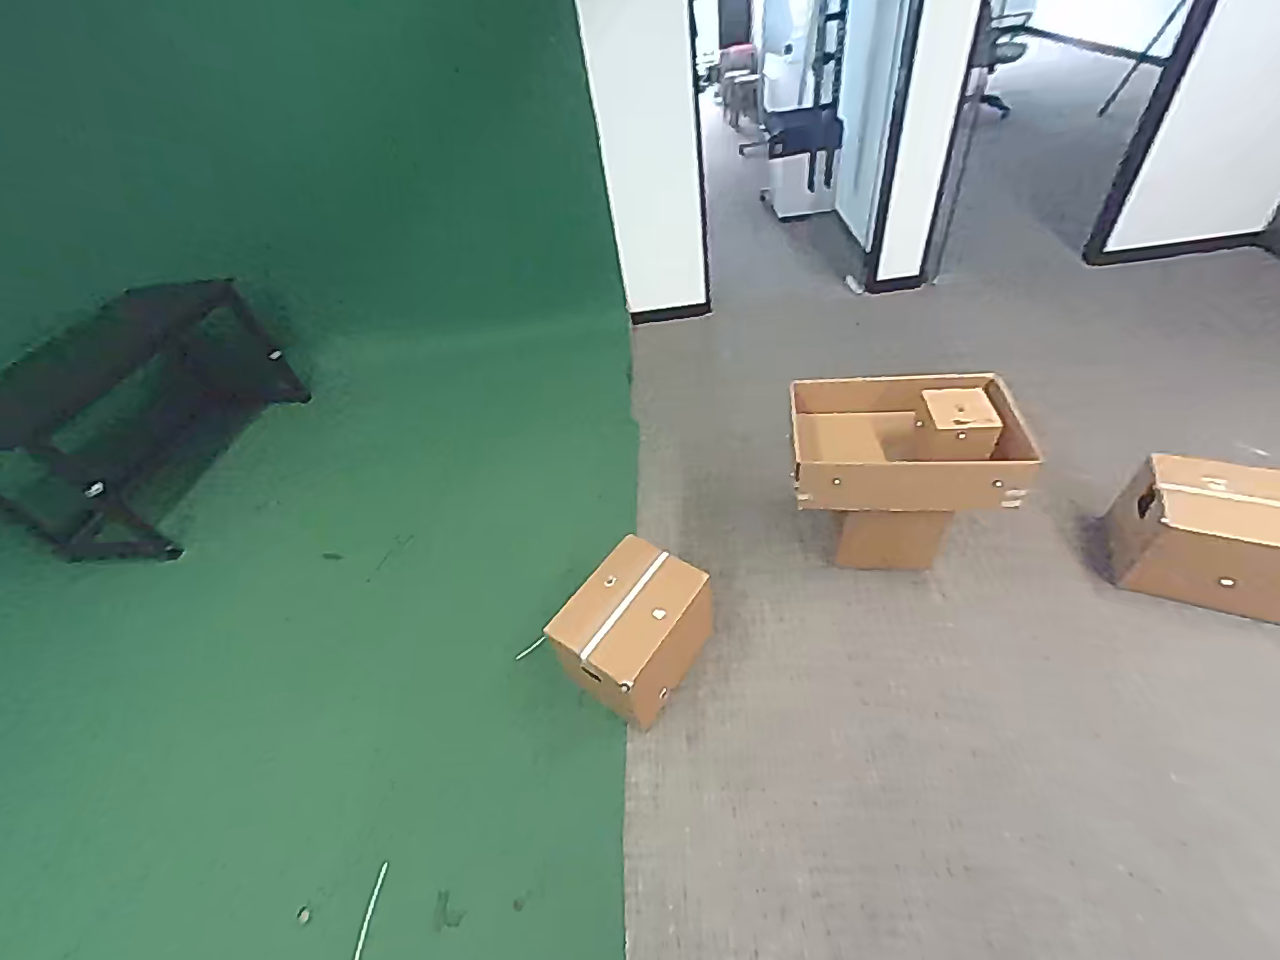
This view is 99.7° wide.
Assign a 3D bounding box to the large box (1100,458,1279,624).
[{"bbox_3d":[1.698,0.177,1.613,0.408,0.320,0.320,12,49,23],"label":"large box"}]
